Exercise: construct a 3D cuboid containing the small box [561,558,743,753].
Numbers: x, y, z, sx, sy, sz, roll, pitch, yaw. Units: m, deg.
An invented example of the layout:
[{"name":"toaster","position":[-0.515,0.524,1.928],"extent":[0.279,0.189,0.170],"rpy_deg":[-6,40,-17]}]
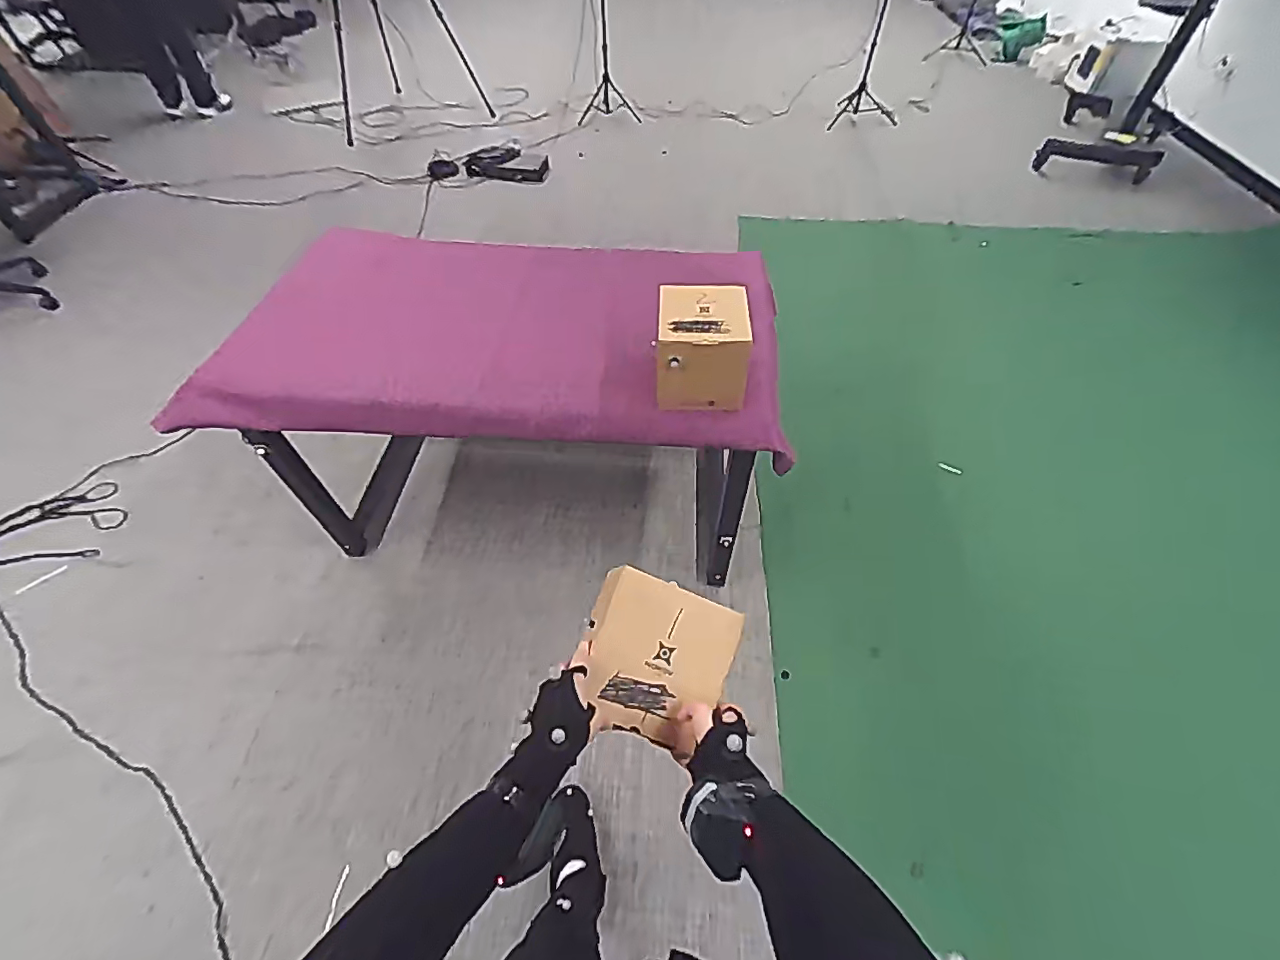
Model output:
[{"name":"small box","position":[0.006,0.218,0.708],"extent":[0.168,0.176,0.179],"rpy_deg":[25,75,-5]}]
